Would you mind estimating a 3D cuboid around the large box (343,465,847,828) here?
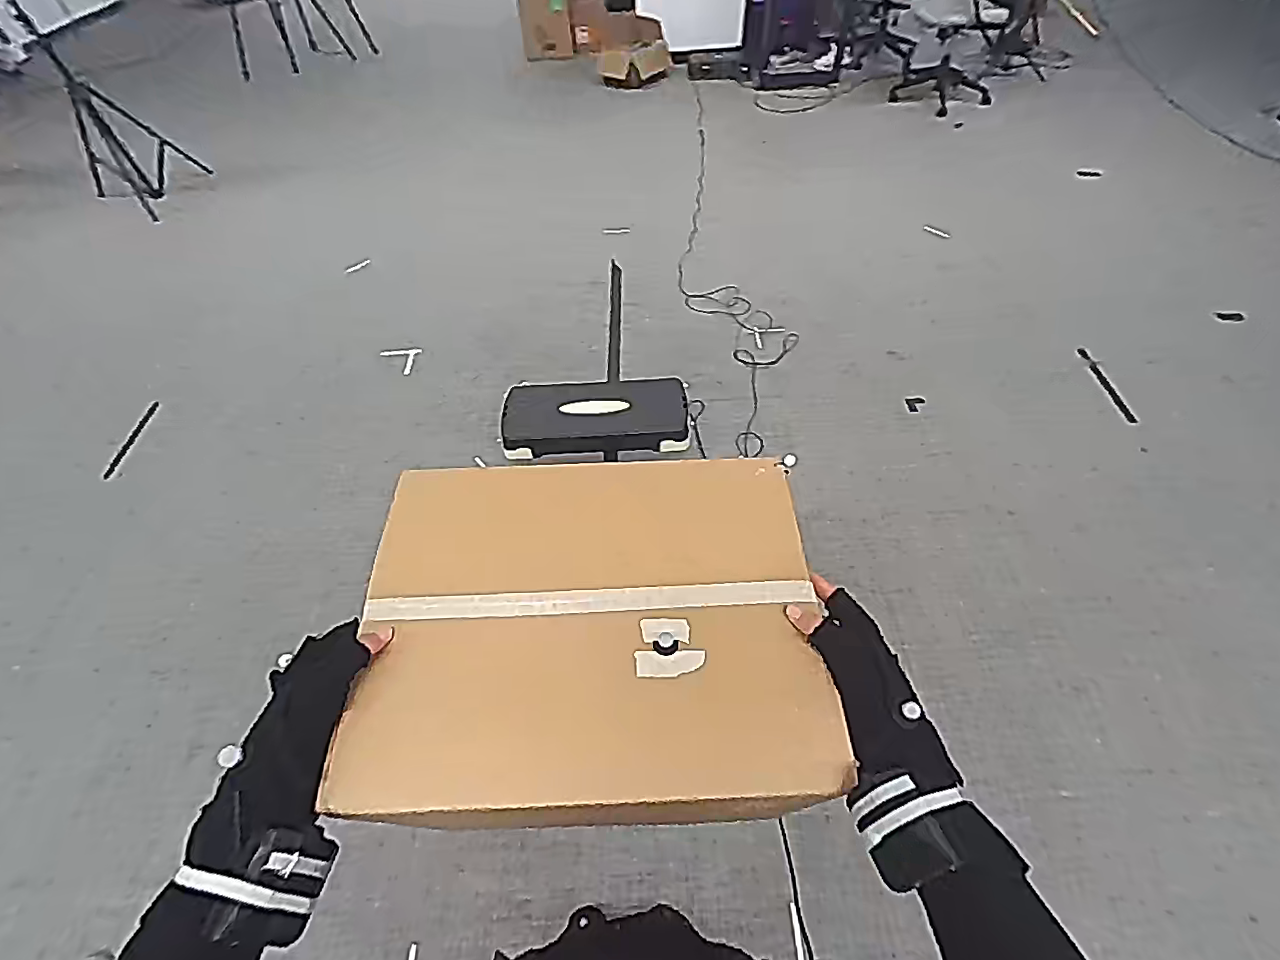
[{"bbox_3d":[-0.039,0.202,0.626,0.408,0.320,0.320,-2,55,0],"label":"large box"}]
